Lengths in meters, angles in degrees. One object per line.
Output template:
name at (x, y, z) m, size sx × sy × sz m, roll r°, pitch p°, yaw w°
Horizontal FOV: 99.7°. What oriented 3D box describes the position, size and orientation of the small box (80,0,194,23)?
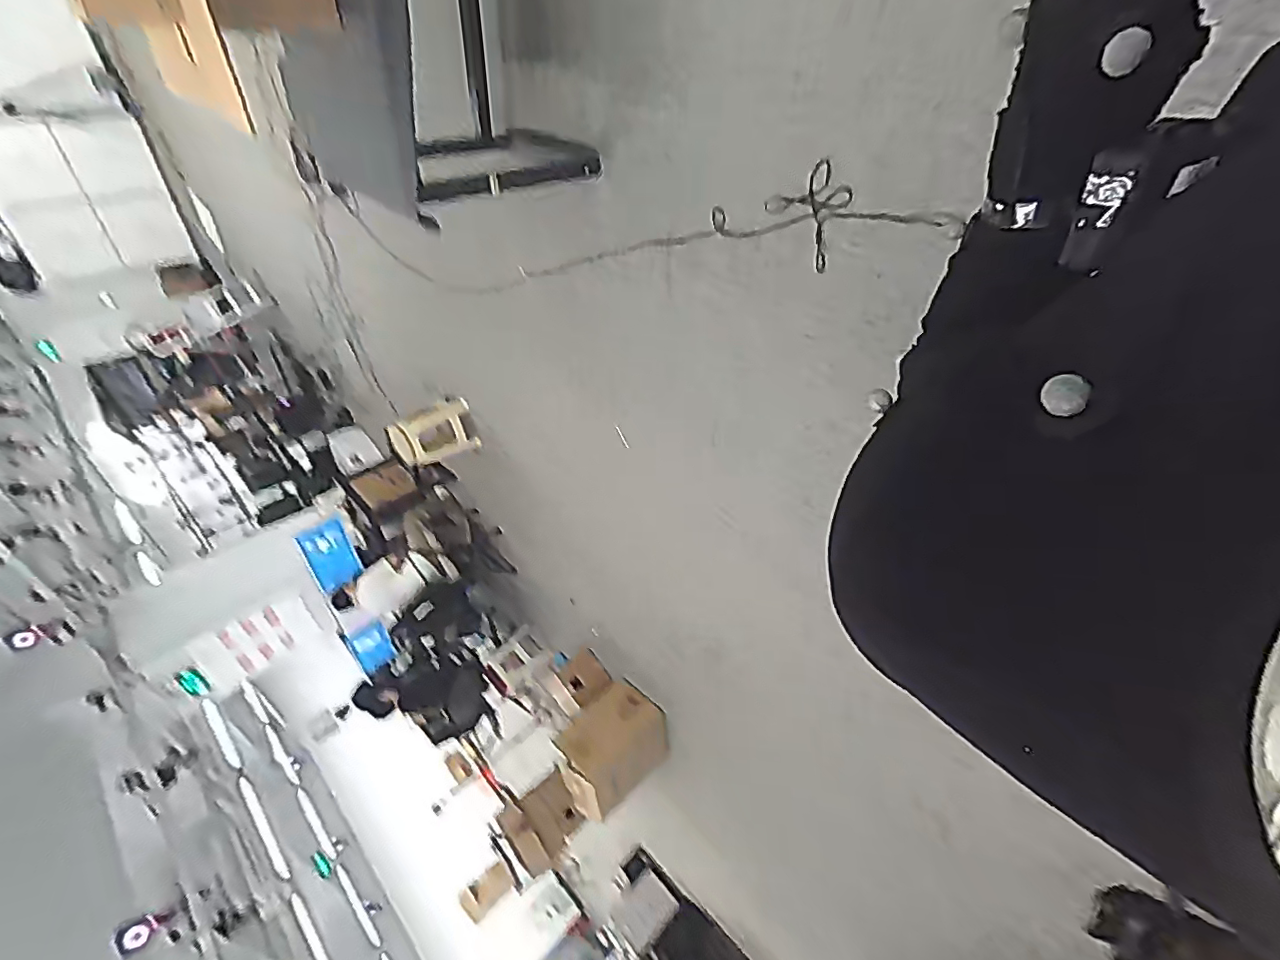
small box at (-1.061, -1.050, 1.105) m, size 0.179 × 0.176 × 0.168 m, roll 36°, pitch 140°, yaw 30°
